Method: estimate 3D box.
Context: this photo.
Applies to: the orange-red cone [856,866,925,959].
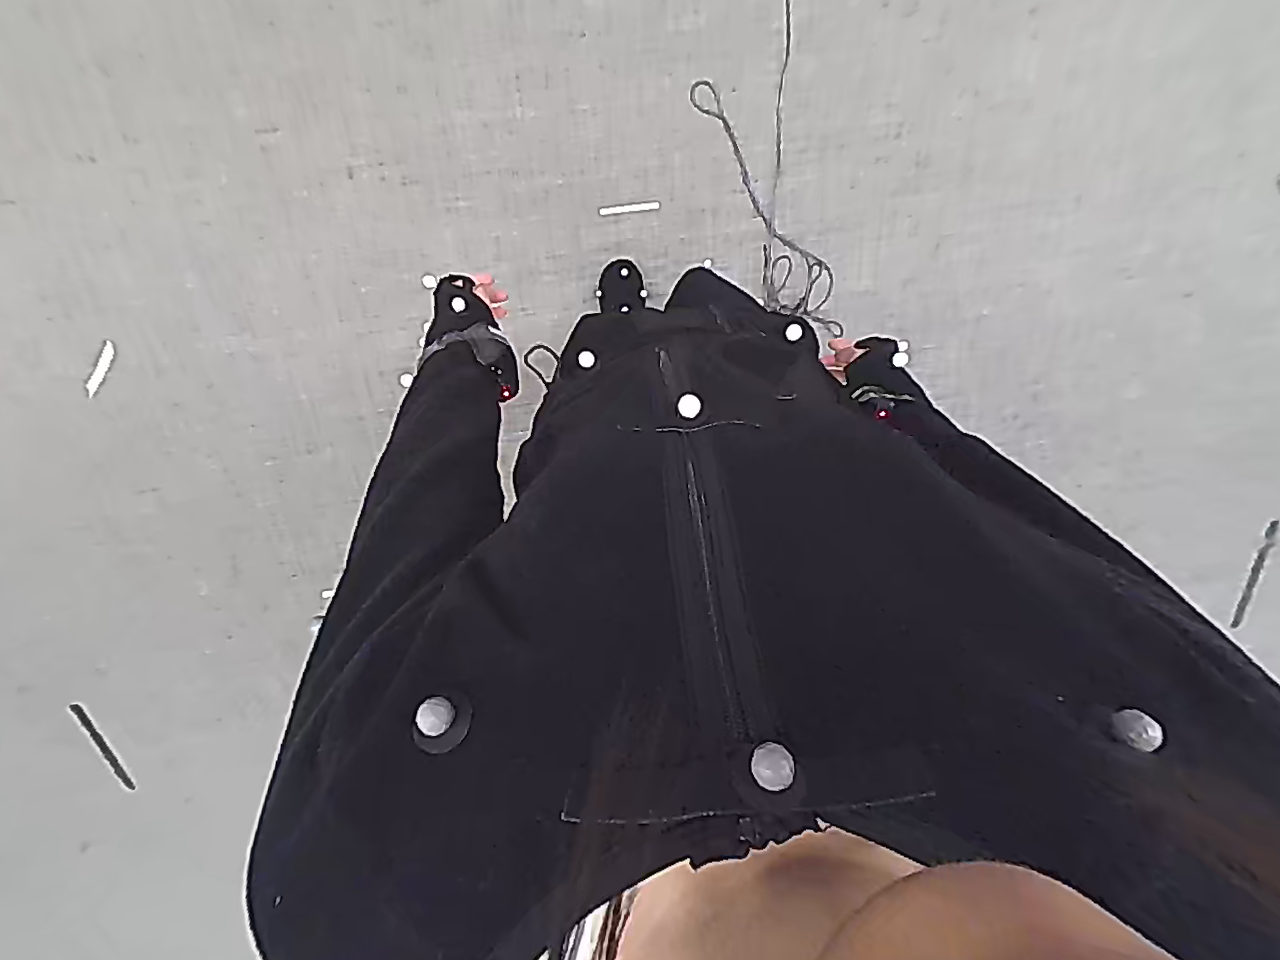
[{"bbox_3d":[0.973,1.672,1.996,0.198,0.360,0.199,-4,112,-2],"label":"orange-red cone"}]
